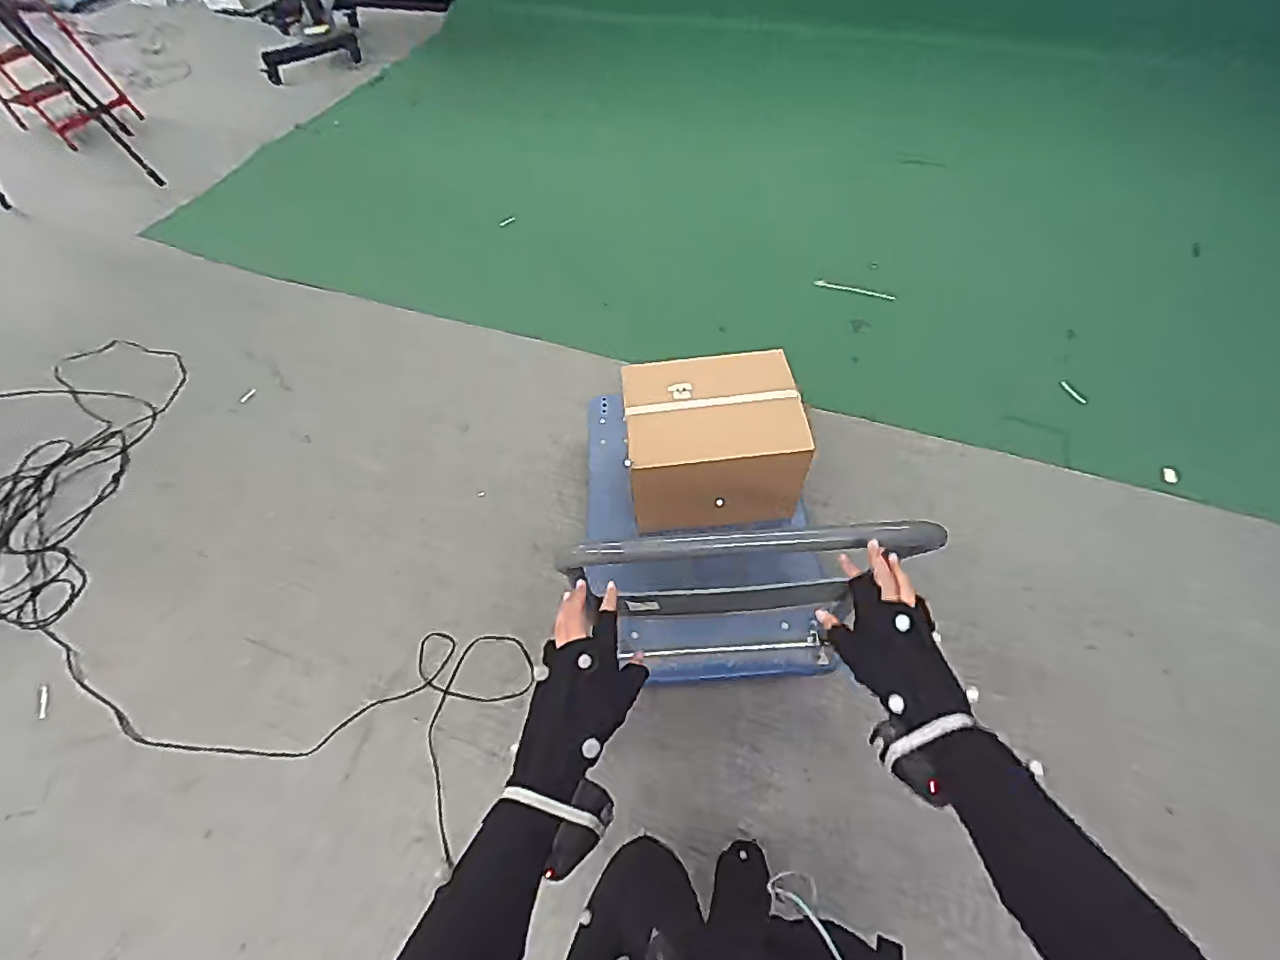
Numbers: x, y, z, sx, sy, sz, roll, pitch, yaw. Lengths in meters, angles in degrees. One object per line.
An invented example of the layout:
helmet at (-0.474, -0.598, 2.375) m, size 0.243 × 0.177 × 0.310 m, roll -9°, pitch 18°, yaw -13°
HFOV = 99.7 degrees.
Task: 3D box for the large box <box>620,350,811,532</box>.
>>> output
large box at (0.175, -0.090, 1.384) m, size 0.408 × 0.320 × 0.320 m, roll -7°, pitch 56°, yaw 1°
